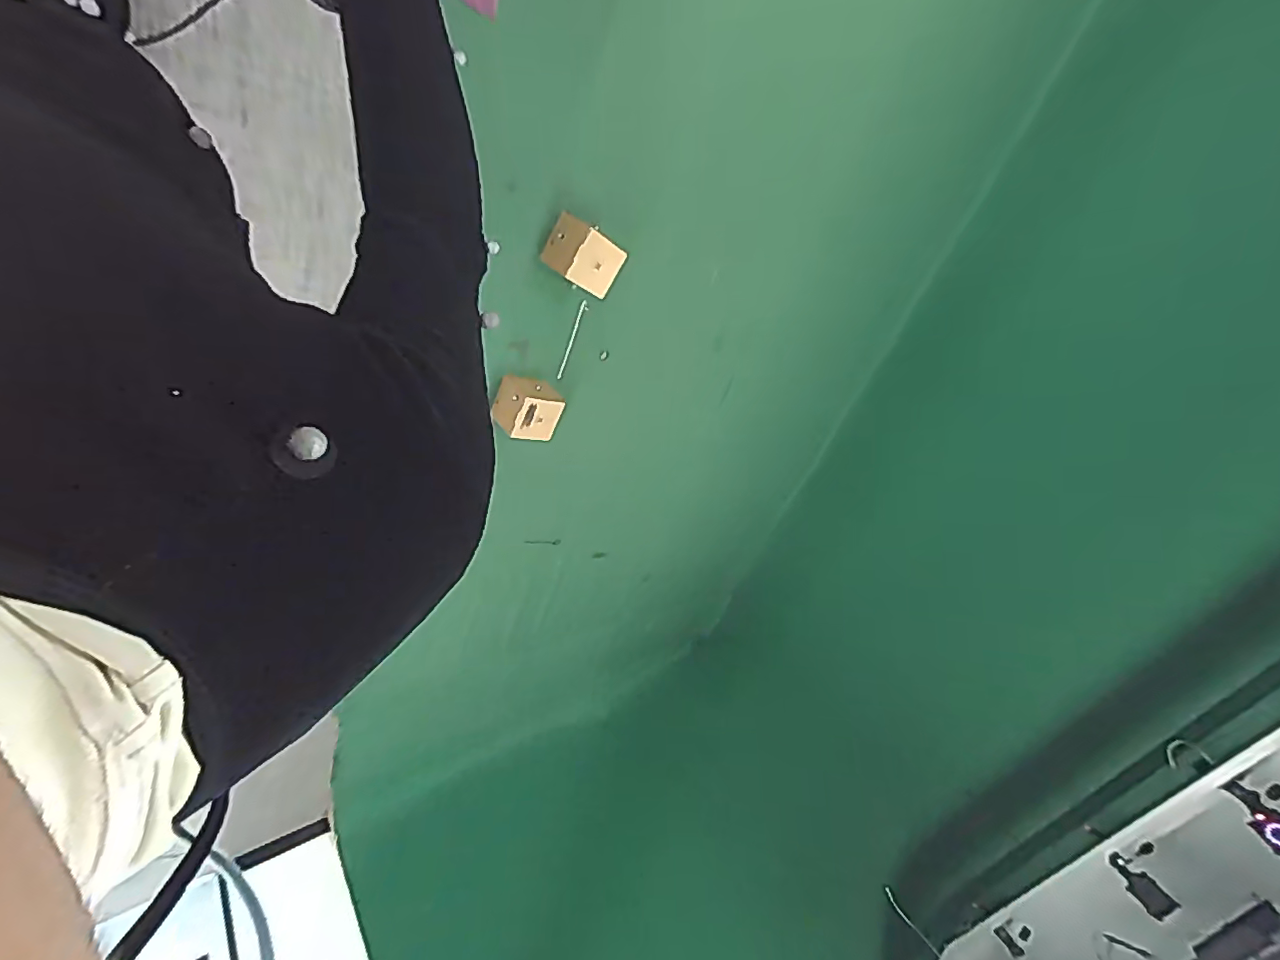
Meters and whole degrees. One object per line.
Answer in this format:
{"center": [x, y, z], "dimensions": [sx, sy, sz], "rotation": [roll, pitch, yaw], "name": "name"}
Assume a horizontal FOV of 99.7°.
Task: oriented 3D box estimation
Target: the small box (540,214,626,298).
{"center": [-0.187, -0.725, 1.742], "dimensions": [0.179, 0.176, 0.168], "rotation": [13, 116, -50], "name": "small box"}
